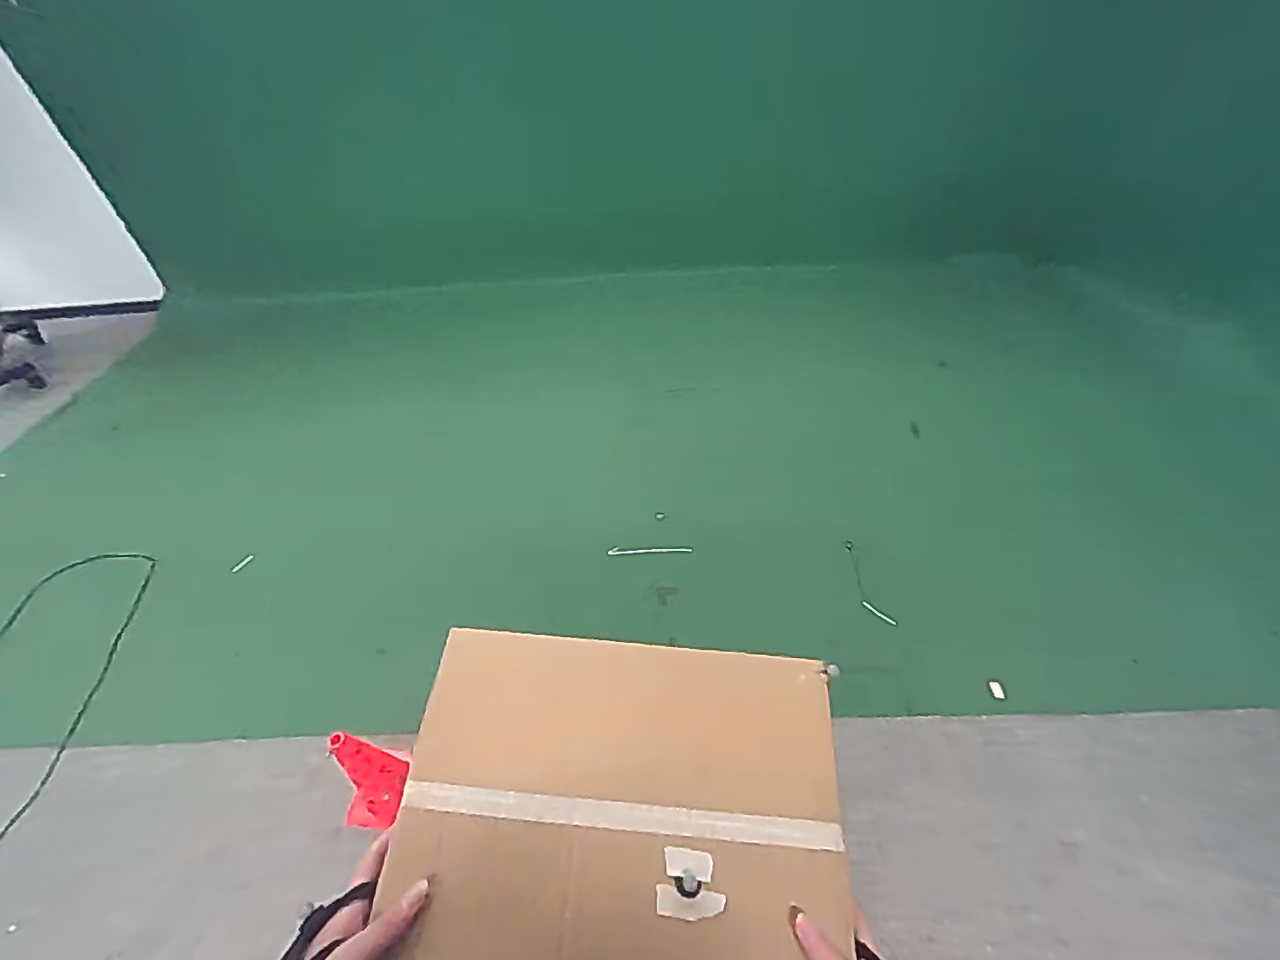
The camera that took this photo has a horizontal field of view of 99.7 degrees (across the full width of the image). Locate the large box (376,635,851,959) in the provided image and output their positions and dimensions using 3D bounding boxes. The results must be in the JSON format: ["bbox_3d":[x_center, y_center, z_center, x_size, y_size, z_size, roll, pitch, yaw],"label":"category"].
[{"bbox_3d":[-0.016,0.392,0.631,0.408,0.320,0.320,4,58,3],"label":"large box"}]

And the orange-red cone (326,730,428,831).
[{"bbox_3d":[-0.708,0.735,1.391,0.199,0.360,0.198,1,44,9],"label":"orange-red cone"}]
